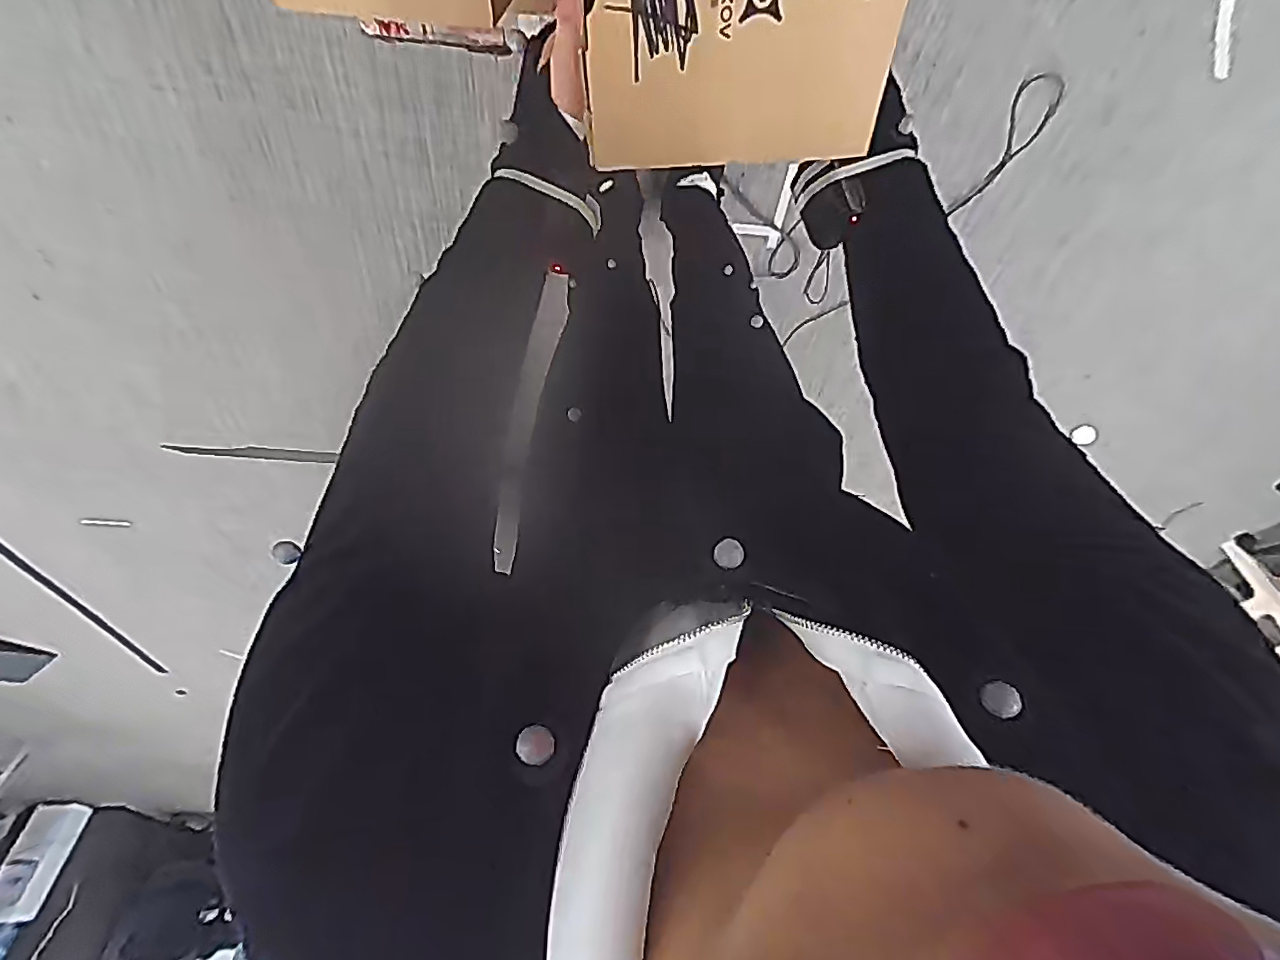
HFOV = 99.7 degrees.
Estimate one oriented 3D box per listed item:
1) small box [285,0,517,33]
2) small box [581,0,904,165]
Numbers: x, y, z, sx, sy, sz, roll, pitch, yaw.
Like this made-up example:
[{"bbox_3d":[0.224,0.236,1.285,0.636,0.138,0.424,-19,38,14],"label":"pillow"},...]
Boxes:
[{"bbox_3d":[-0.184,-0.474,0.406,0.168,0.176,0.179,3,143,-3],"label":"small box"},{"bbox_3d":[0.051,-0.318,0.336,0.179,0.176,0.168,-4,141,-2],"label":"small box"}]
